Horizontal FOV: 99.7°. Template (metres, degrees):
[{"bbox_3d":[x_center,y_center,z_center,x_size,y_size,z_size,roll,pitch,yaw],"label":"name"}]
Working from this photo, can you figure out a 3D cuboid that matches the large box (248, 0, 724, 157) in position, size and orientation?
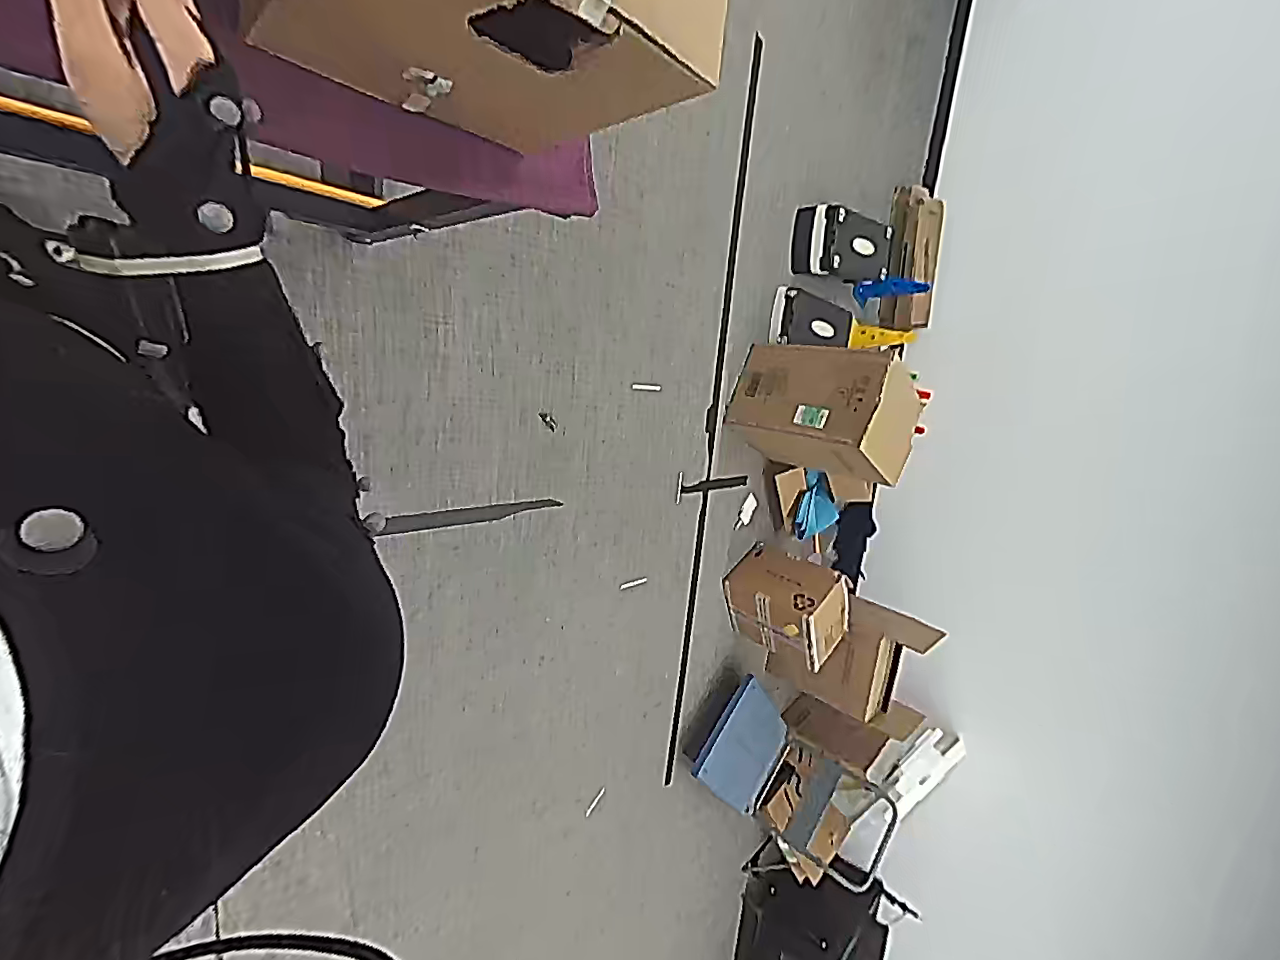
[{"bbox_3d":[-0.127,-0.562,0.455,0.320,0.320,0.408,-8,107,-47],"label":"large box"}]
